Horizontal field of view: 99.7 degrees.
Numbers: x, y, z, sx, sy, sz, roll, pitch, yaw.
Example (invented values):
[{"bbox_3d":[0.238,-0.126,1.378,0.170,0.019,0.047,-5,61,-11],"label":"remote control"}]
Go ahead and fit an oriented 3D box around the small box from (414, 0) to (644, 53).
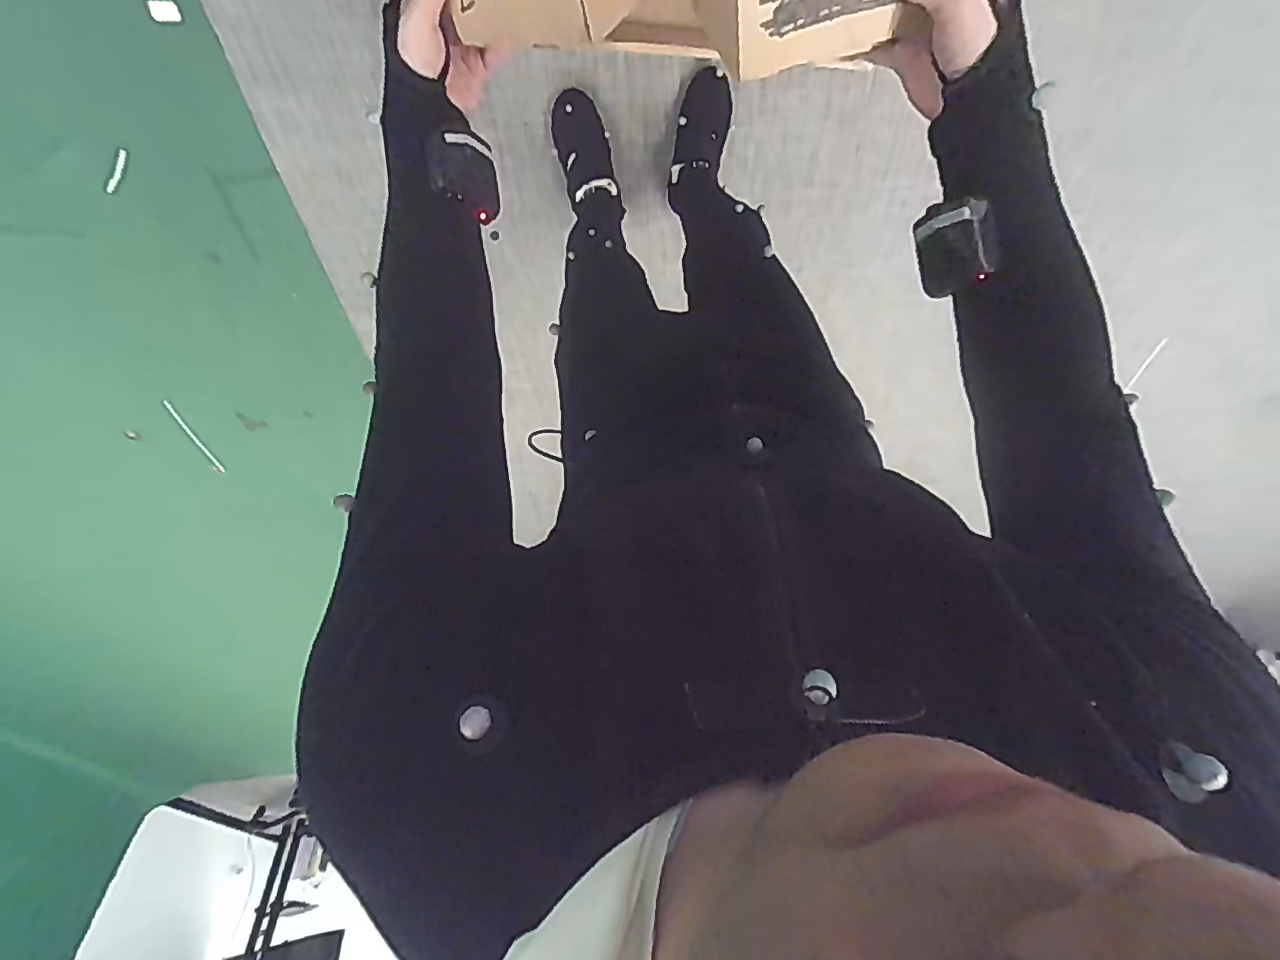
[{"bbox_3d":[-0.081,-0.450,0.389,0.168,0.176,0.179,22,157,23],"label":"small box"}]
